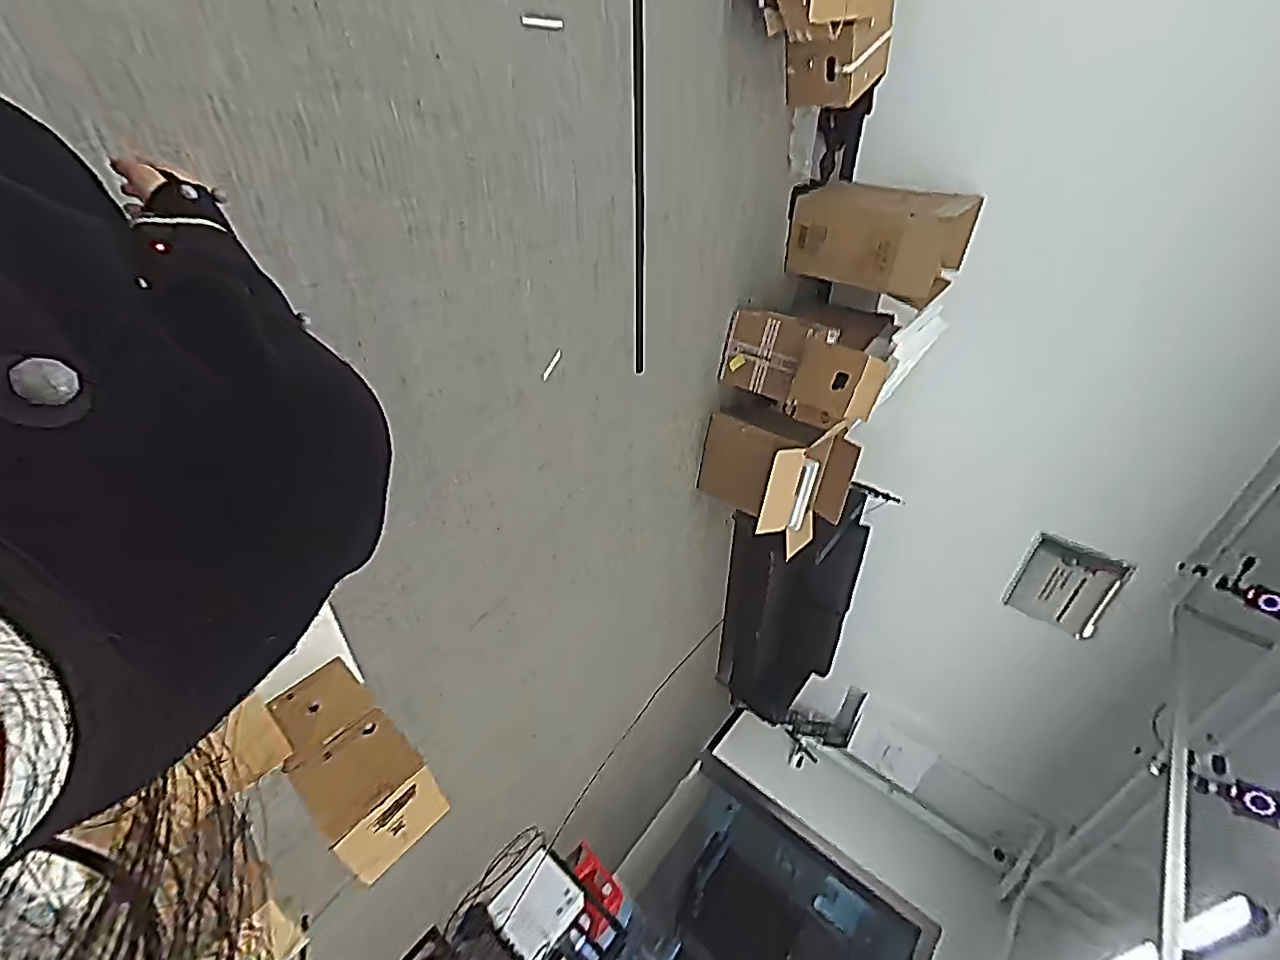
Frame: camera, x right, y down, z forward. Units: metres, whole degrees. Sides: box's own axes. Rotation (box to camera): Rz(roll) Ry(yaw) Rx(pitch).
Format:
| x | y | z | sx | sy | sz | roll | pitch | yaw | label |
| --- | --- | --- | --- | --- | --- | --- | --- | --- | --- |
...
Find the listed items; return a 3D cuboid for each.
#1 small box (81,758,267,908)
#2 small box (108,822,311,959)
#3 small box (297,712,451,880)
| x | y | z | sx | sy | sz | roll | pitch | yaw | label |
| --- | --- | --- | --- | --- | --- | --- | --- | --- | --- |
| -0.767 | 0.602 | 0.896 | 0.168 | 0.176 | 0.179 | -33 | 136 | -41 | small box |
| -0.639 | 0.666 | 0.812 | 0.168 | 0.176 | 0.179 | -34 | 137 | -40 | small box |
| -0.473 | 0.553 | 0.970 | 0.168 | 0.176 | 0.179 | -36 | 138 | -37 | small box |
